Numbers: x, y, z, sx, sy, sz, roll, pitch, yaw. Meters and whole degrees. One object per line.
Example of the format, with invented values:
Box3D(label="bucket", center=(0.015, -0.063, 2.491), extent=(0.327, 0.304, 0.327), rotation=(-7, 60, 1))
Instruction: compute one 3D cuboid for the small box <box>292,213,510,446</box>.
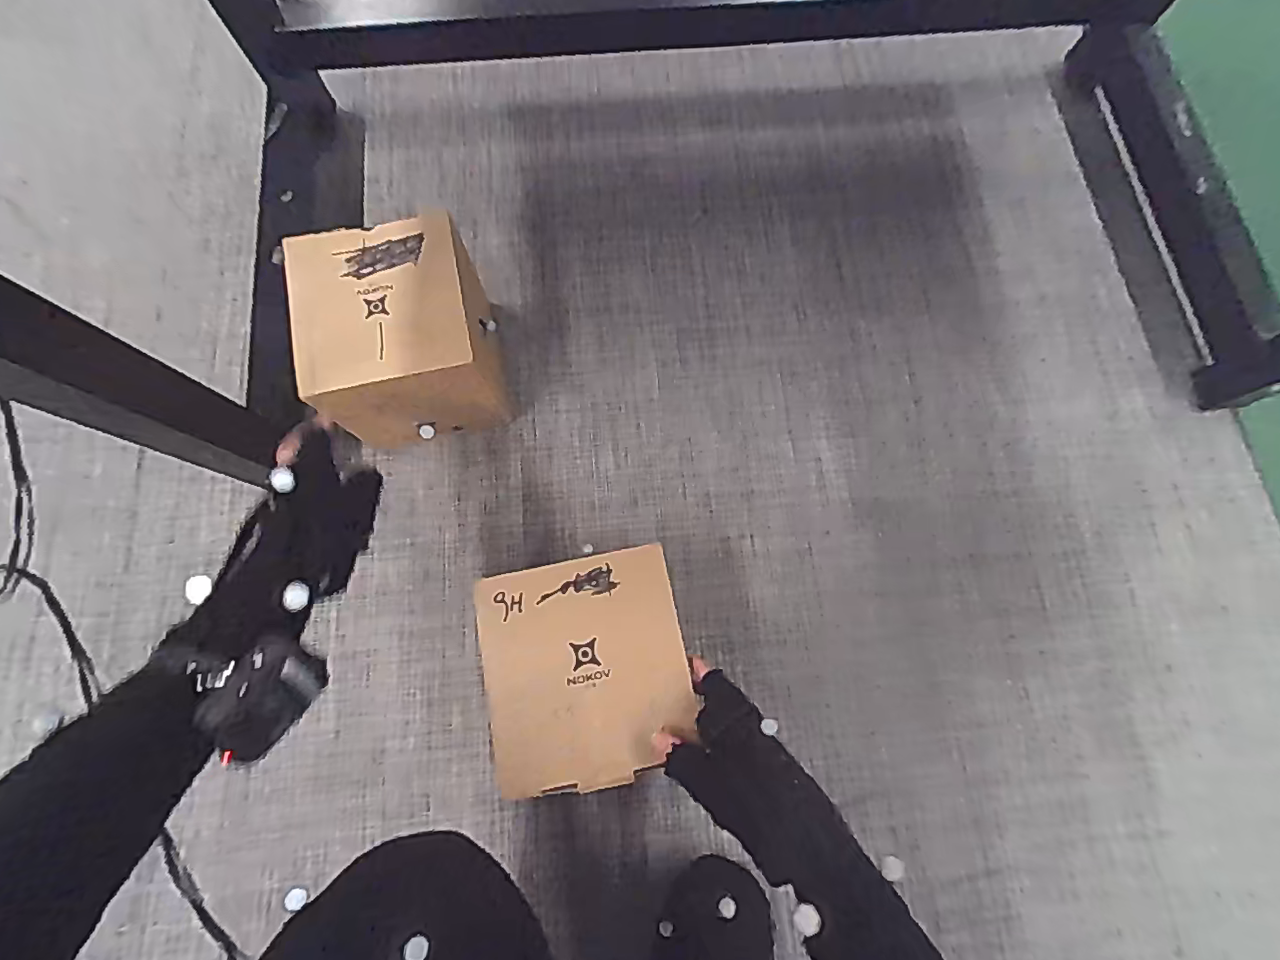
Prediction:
Box3D(label="small box", center=(-0.252, -0.156, 0.602), extent=(0.168, 0.176, 0.179), rotation=(-12, 77, -5))
